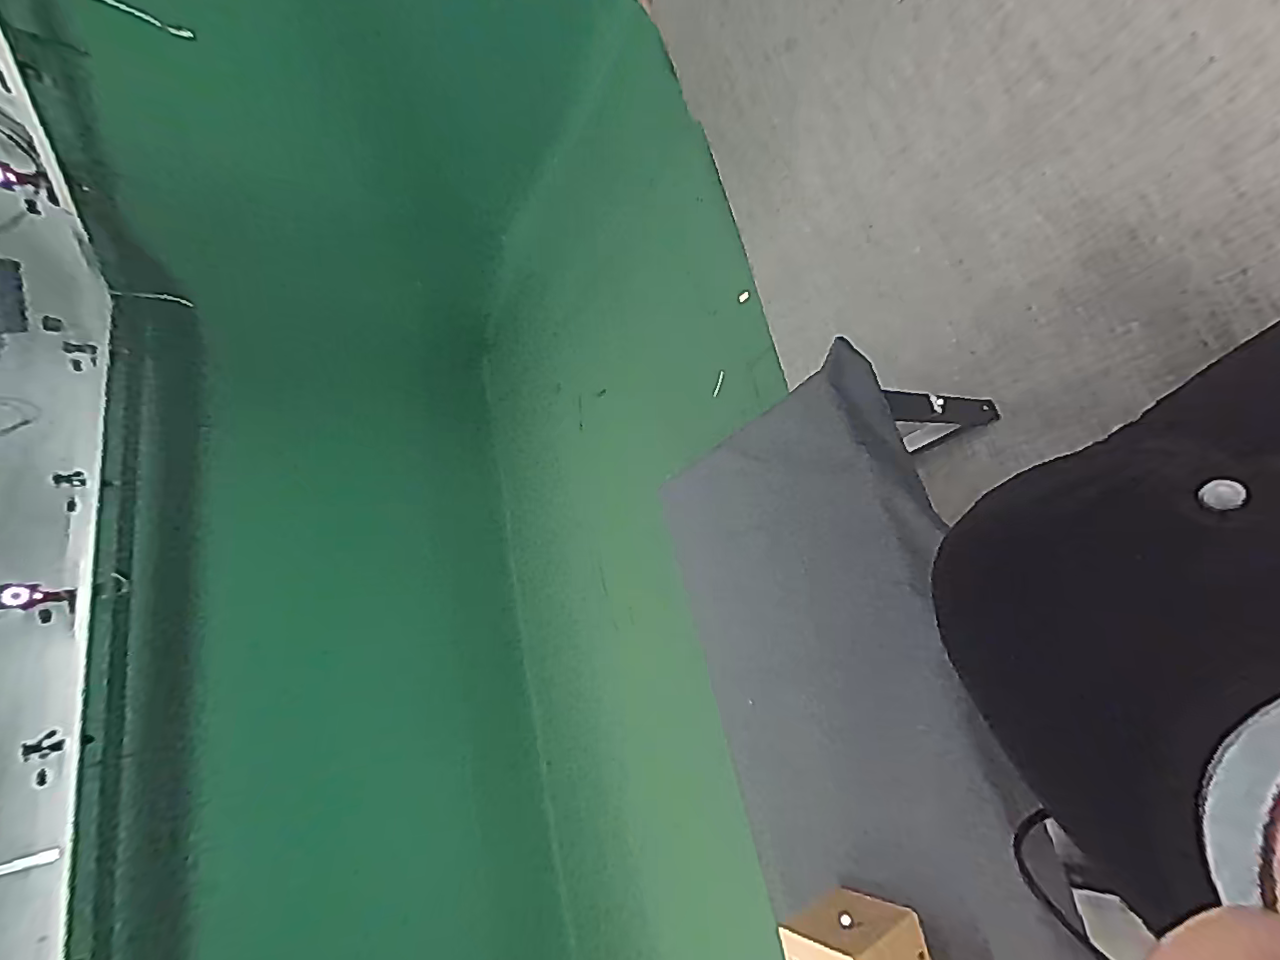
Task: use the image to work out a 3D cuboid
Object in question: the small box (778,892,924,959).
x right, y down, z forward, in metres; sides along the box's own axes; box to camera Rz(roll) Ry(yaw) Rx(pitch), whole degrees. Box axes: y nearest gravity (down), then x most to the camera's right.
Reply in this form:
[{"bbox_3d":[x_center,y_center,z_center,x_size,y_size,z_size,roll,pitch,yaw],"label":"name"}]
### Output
[{"bbox_3d":[0.374,0.846,0.924,0.179,0.176,0.168,-34,63,51],"label":"small box"}]
